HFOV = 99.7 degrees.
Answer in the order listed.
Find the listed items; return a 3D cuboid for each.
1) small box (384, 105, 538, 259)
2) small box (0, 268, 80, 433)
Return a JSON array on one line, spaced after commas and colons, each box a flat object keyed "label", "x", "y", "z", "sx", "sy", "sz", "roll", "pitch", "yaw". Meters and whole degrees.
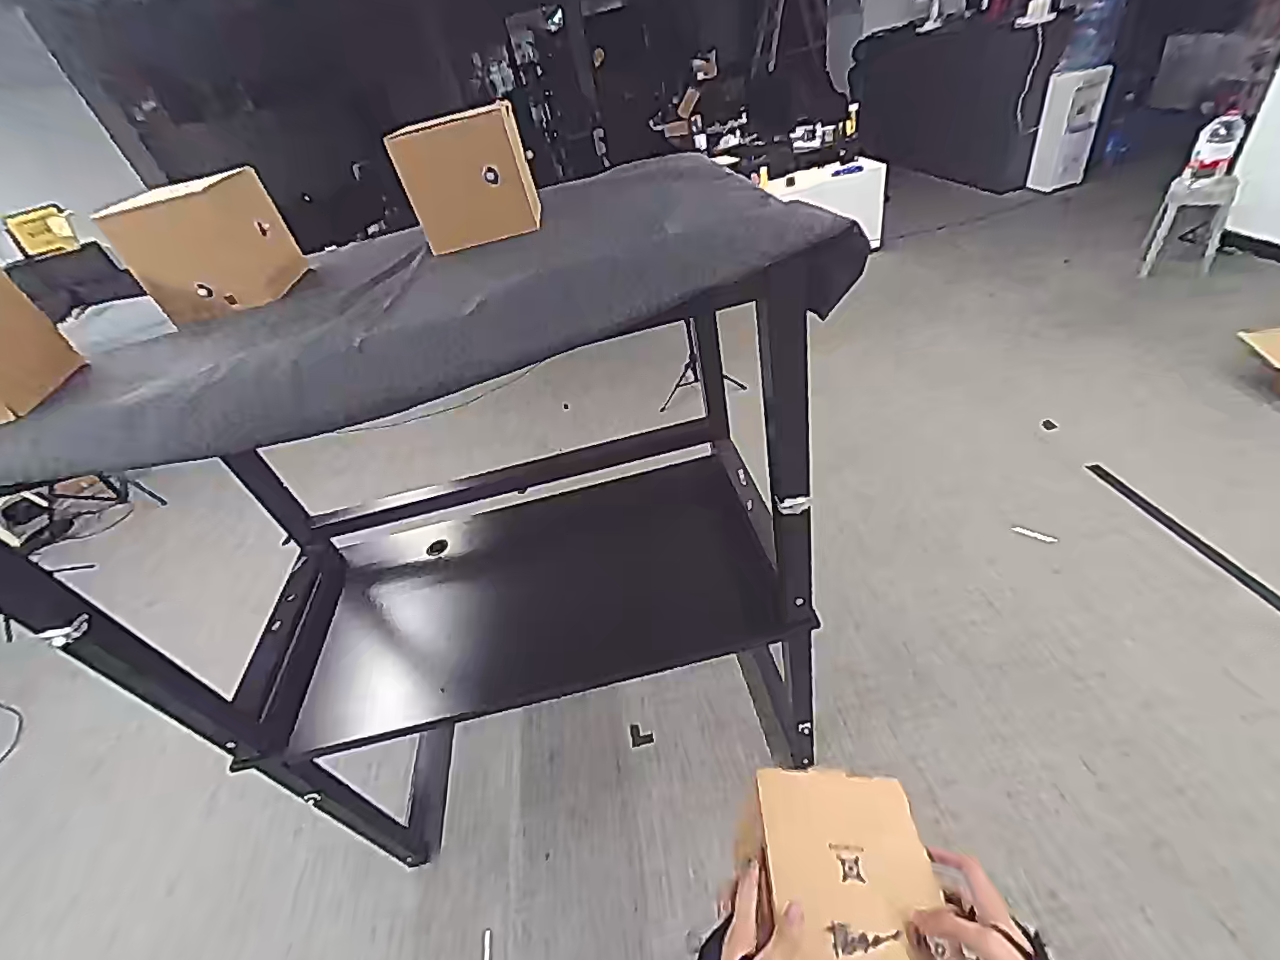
[{"label": "small box", "x": -0.272, "y": -0.480, "z": 0.872, "sx": 0.179, "sy": 0.176, "sz": 0.168, "roll": -13, "pitch": 38, "yaw": 2}, {"label": "small box", "x": -0.872, "y": -0.152, "z": 0.669, "sx": 0.168, "sy": 0.176, "sz": 0.179, "roll": -20, "pitch": 40, "yaw": -7}]
